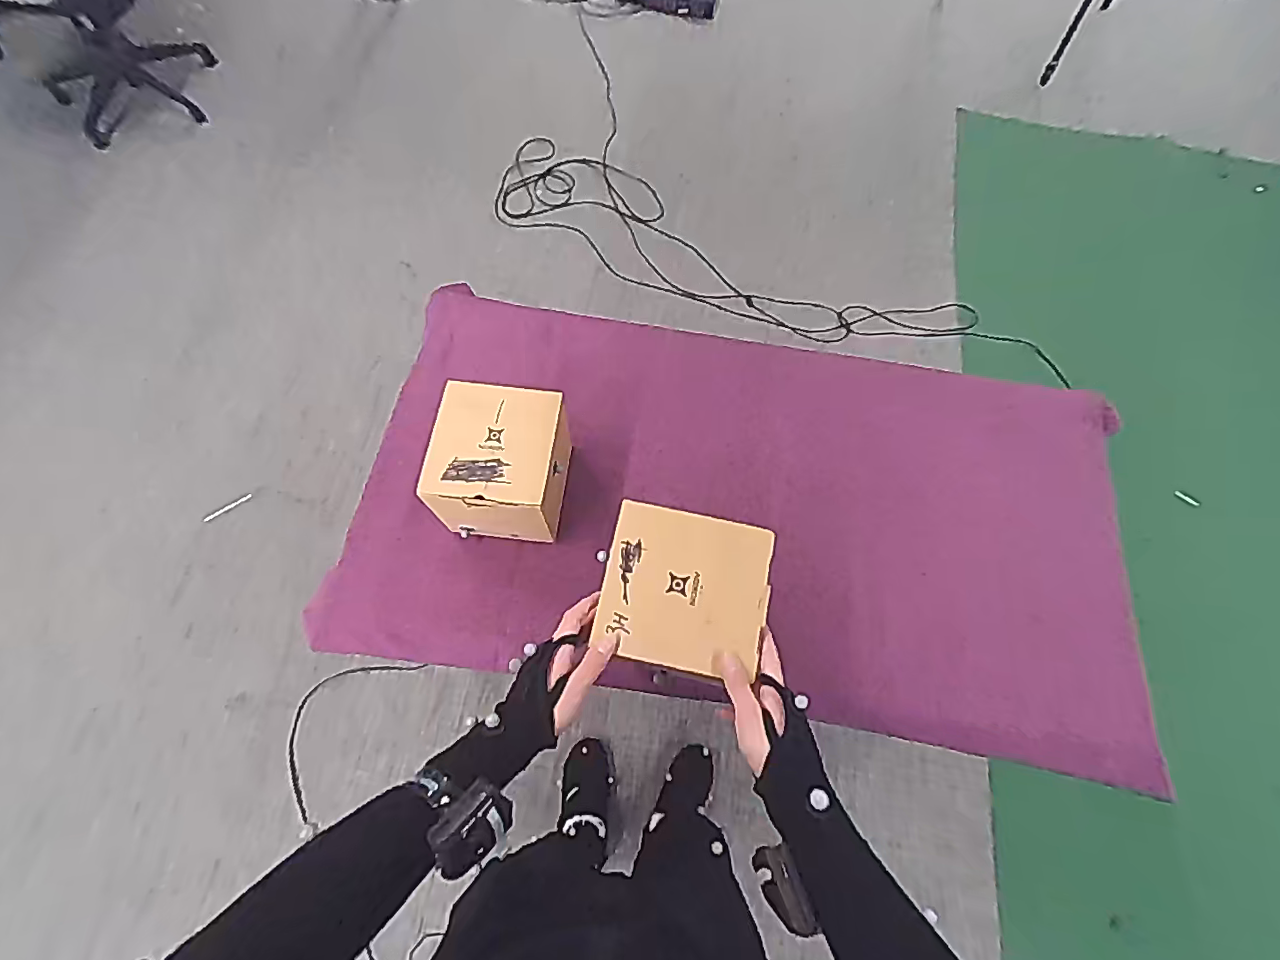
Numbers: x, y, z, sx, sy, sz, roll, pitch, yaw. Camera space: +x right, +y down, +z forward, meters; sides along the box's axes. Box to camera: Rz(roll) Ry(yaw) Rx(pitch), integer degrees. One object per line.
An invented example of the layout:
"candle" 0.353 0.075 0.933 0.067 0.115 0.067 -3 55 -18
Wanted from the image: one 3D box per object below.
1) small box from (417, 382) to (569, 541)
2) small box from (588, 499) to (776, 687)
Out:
"small box" -0.202 -0.018 0.801 0.168 0.176 0.179 7 66 0
"small box" 0.045 0.142 0.648 0.179 0.176 0.168 13 69 2
